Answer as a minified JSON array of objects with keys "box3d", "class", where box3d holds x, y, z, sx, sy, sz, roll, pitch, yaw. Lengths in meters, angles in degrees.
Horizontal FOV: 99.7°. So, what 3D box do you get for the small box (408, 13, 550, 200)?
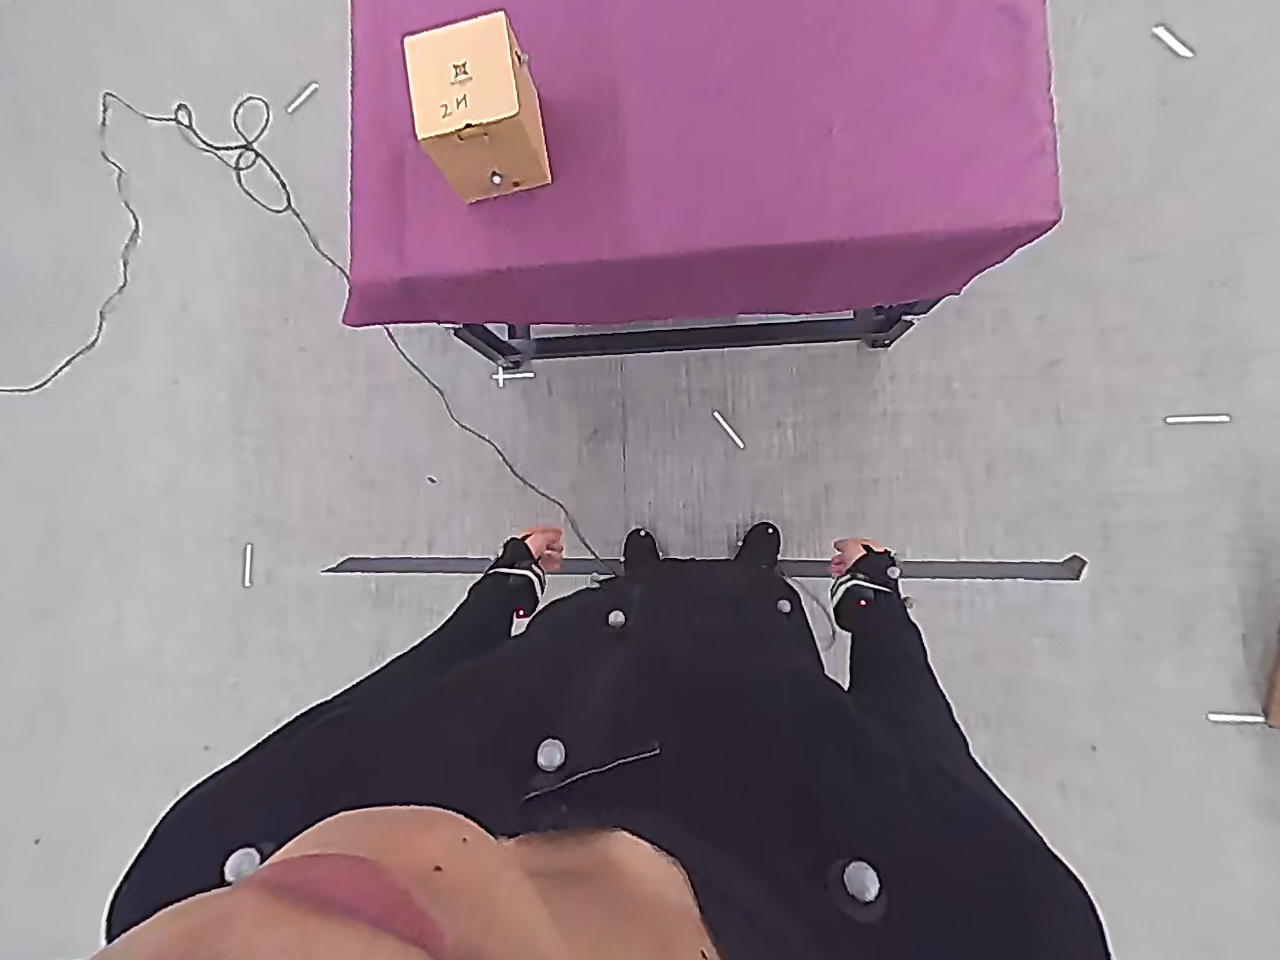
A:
[{"box3d":[-0.259,-0.609,0.902,0.168,0.176,0.179,-10,86,6],"class":"small box"}]
